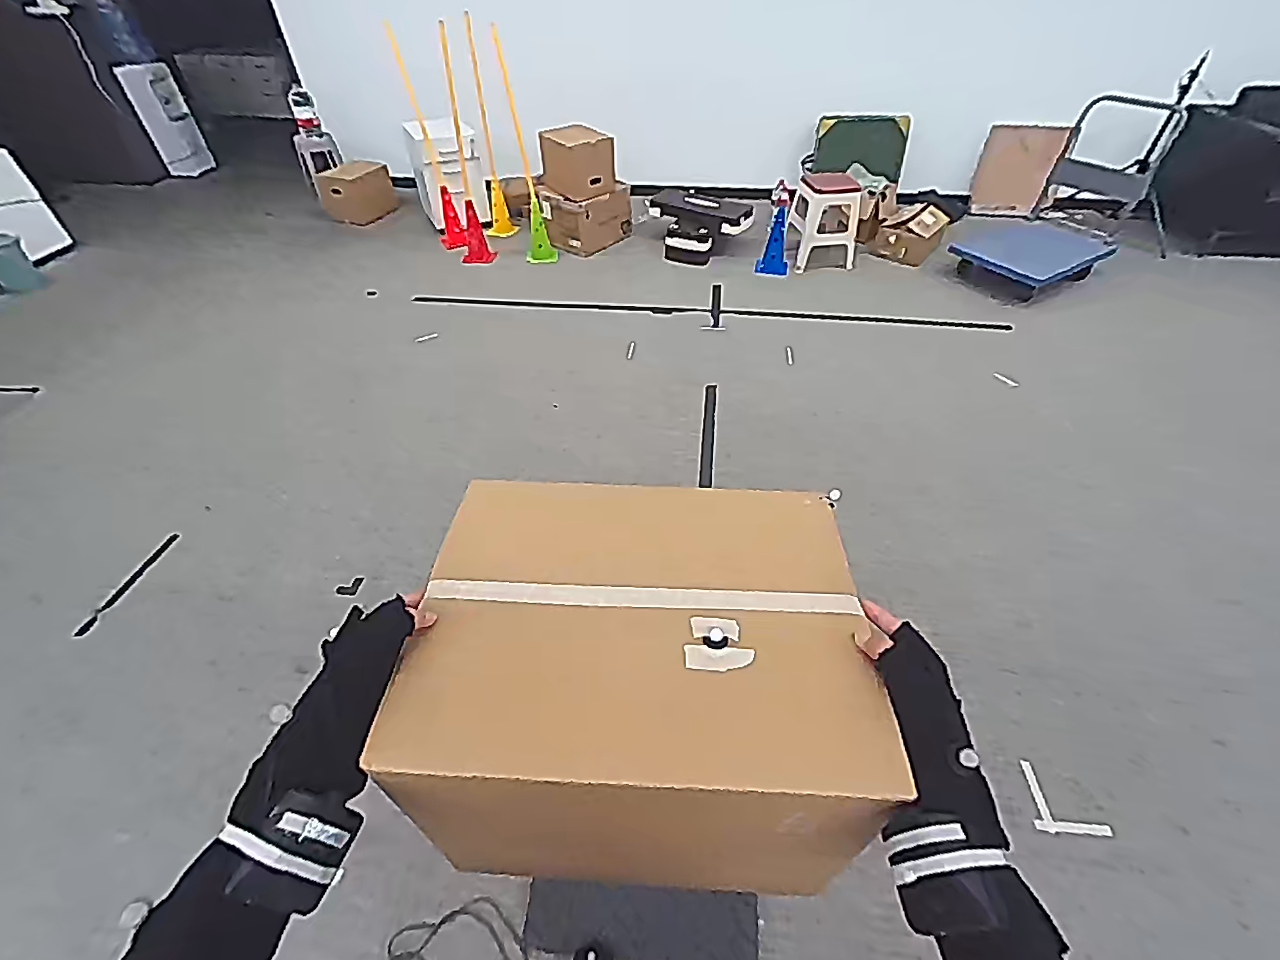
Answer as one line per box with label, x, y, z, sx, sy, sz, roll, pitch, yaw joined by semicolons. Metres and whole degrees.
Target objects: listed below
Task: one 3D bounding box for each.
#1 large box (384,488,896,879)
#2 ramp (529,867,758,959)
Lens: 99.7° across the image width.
large box;0.001;0.228;0.620;0.408;0.320;0.320;3;43;2
ramp;0.056;0.578;1.407;0.509;0.206;0.991;4;45;3
